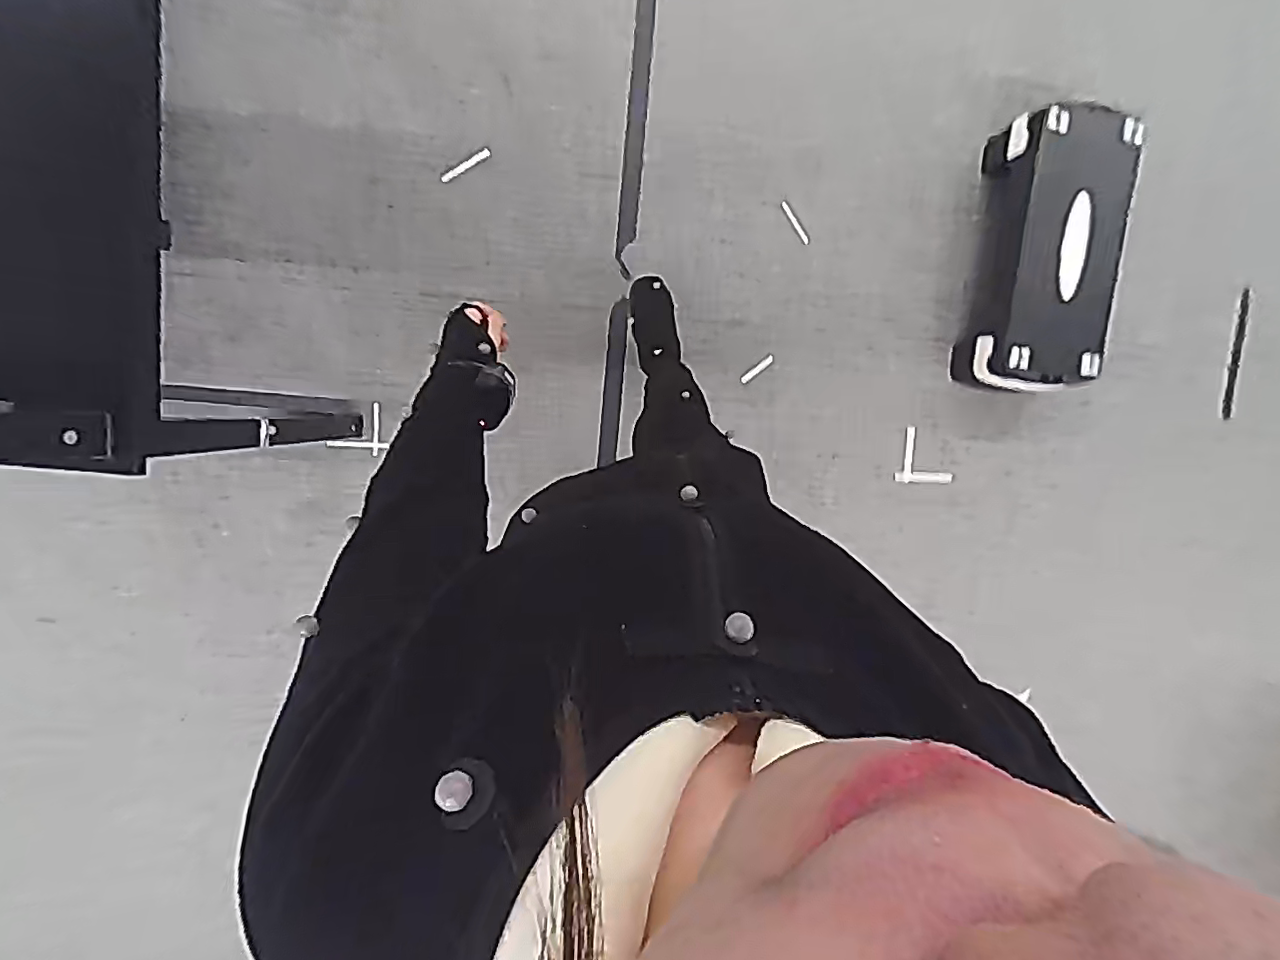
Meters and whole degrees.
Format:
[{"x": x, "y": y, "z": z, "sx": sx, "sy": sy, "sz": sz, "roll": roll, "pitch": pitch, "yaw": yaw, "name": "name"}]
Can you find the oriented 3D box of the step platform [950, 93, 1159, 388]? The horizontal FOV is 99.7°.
[{"x": 1.064, "y": -0.594, "z": 1.402, "sx": 0.286, "sy": 0.204, "sz": 0.684, "roll": 10, "pitch": 94, "yaw": -6, "name": "step platform"}]
